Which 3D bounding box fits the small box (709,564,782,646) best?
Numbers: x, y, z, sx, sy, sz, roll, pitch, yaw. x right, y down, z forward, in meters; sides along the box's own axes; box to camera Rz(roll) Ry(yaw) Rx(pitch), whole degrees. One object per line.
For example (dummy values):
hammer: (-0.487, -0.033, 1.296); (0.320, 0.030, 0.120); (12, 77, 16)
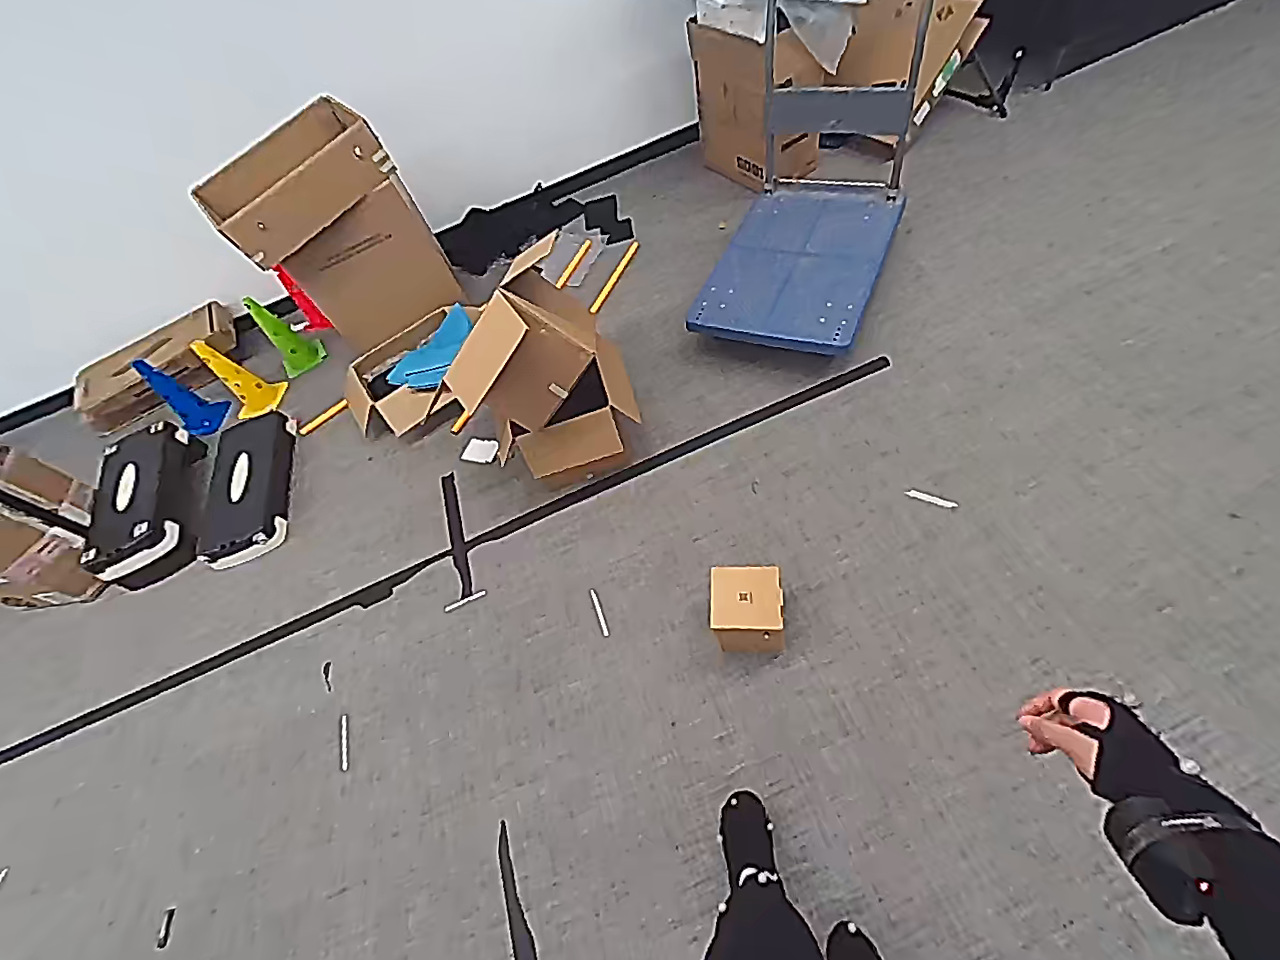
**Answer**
small box: (0.279, 0.330, 1.418); (0.179, 0.176, 0.168); (-3, 56, 12)
